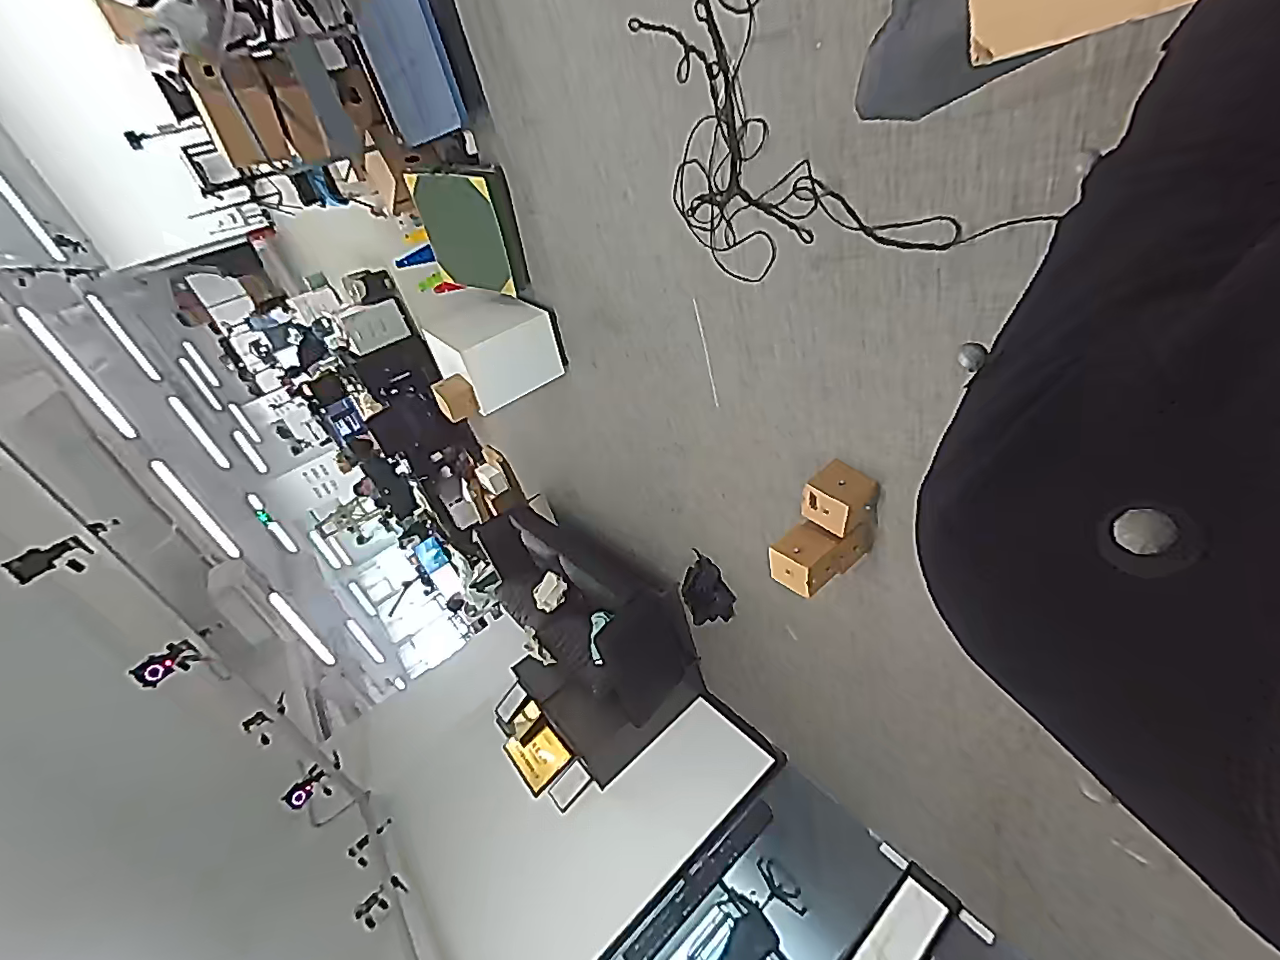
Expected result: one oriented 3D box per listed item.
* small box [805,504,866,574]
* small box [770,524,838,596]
[{"bbox_3d":[0.742,0.217,2.062,0.179,0.176,0.168,28,144,44],"label":"small box"},{"bbox_3d":[0.608,0.286,1.997,0.179,0.176,0.168,29,144,45],"label":"small box"}]
